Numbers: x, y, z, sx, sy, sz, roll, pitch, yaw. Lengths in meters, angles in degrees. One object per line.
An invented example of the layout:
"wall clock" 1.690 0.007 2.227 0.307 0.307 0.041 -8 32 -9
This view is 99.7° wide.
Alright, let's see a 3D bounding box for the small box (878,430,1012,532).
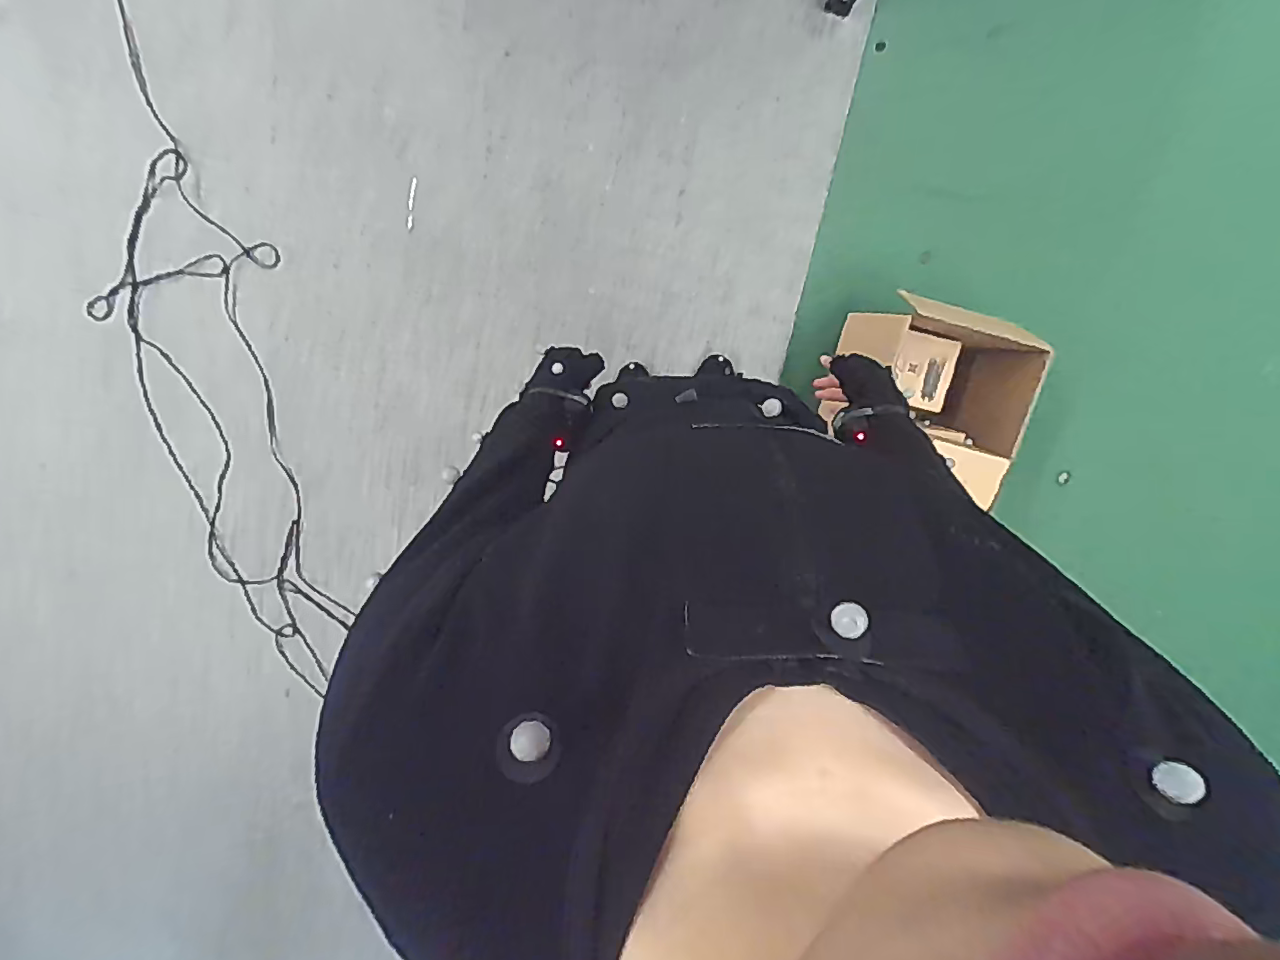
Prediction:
"small box" 0.663 -0.007 1.202 0.179 0.176 0.168 15 105 -4
